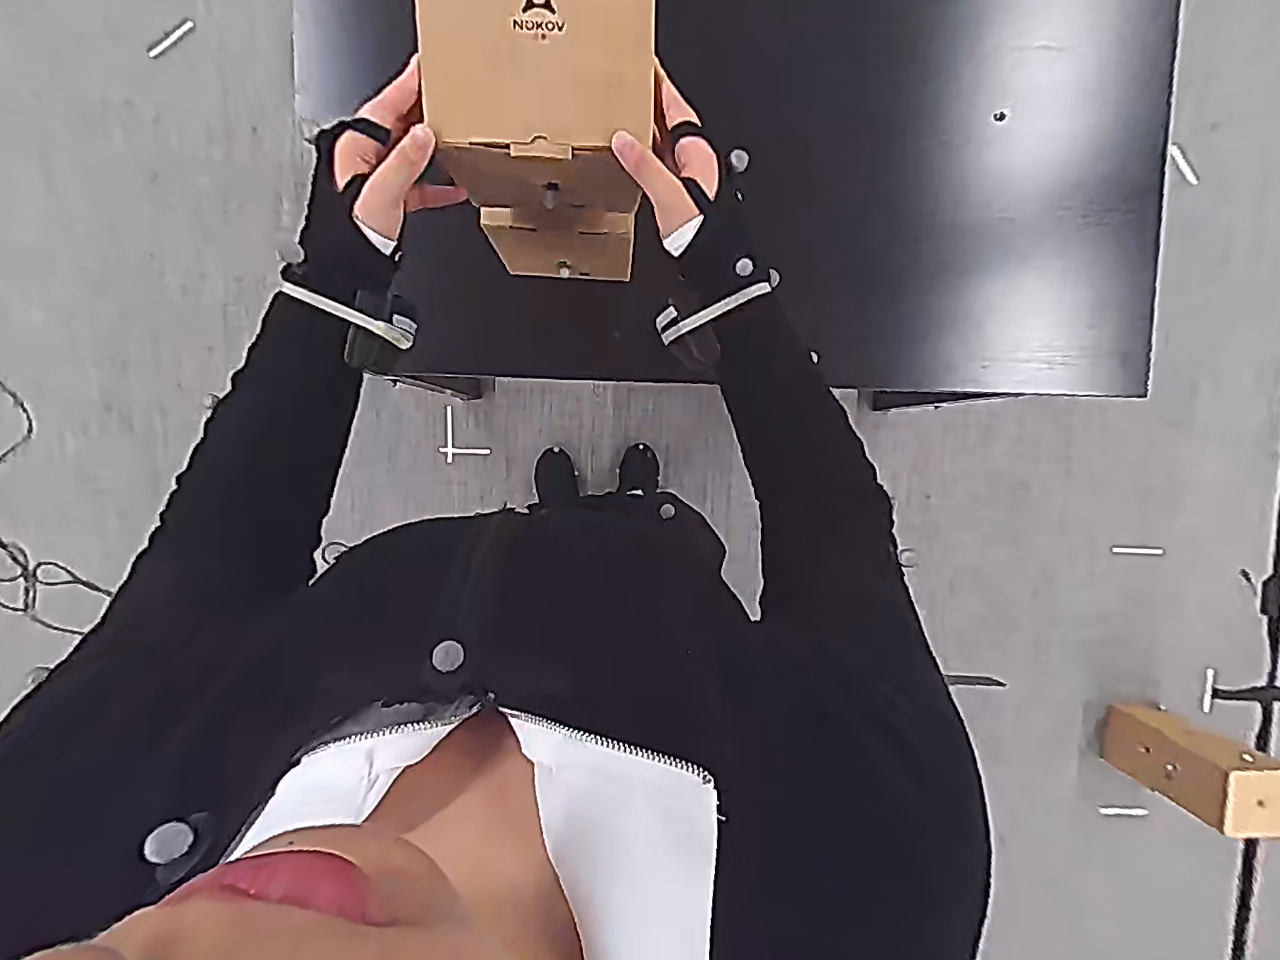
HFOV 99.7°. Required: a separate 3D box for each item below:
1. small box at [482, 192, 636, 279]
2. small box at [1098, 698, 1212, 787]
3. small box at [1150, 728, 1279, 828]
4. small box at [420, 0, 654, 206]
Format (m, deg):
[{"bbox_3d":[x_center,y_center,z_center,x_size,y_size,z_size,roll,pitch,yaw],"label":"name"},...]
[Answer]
[{"bbox_3d":[-0.087,-0.363,0.655,0.168,0.176,0.179,3,94,-3],"label":"small box"},{"bbox_3d":[1.471,0.750,1.552,0.168,0.176,0.179,5,96,-3],"label":"small box"},{"bbox_3d":[1.480,0.758,1.390,0.179,0.176,0.168,0,93,-1],"label":"small box"},{"bbox_3d":[-0.076,-0.344,0.457,0.168,0.176,0.179,0,103,-4],"label":"small box"}]
